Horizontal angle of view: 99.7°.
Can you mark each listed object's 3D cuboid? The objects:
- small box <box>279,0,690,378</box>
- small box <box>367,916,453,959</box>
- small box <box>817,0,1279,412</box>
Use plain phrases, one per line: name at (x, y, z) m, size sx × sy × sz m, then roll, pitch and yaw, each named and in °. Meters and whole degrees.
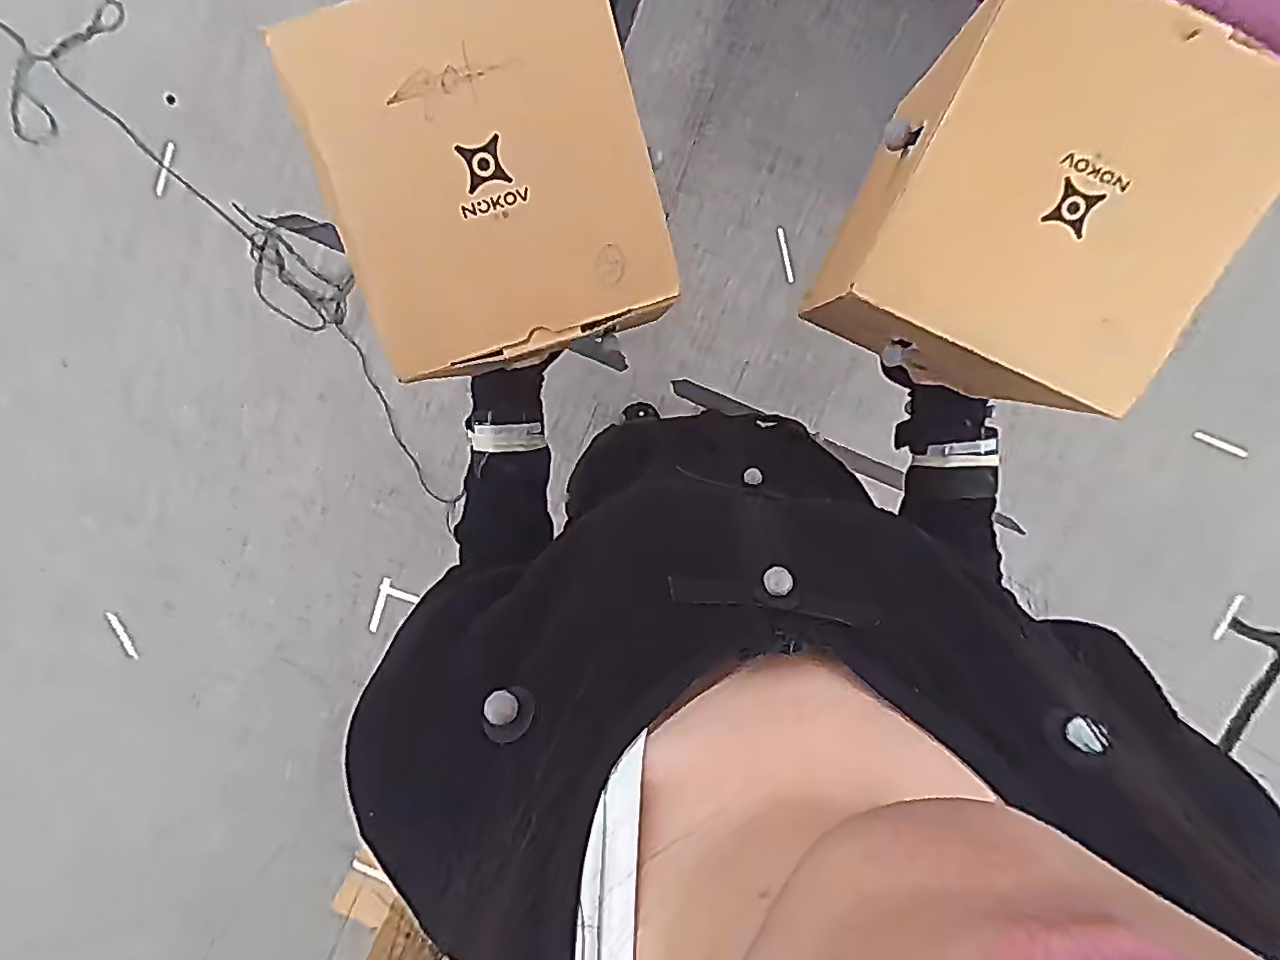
small box at (-0.076, -0.176, 0.353) m, size 0.168 × 0.176 × 0.179 m, roll -17°, pitch 102°, yaw 0°
small box at (-0.511, 1.069, 1.120) m, size 0.168 × 0.176 × 0.179 m, roll 27°, pitch 98°, yaw -2°
small box at (0.235, -0.162, 0.355) m, size 0.168 × 0.176 × 0.179 m, roll 25°, pitch 103°, yaw 0°
